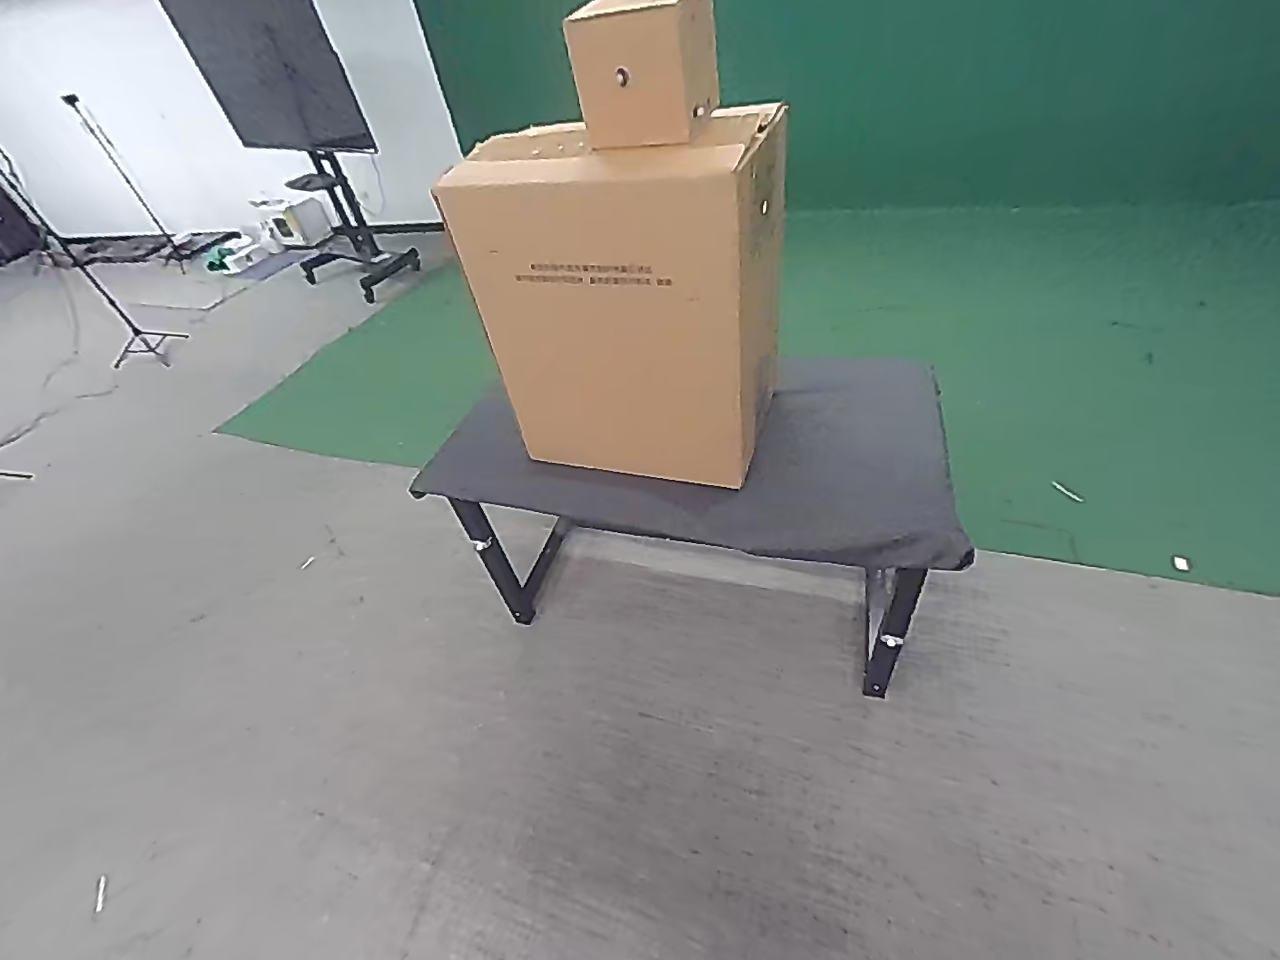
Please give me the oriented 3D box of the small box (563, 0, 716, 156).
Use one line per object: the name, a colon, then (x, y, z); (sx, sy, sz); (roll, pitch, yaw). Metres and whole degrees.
small box: (0.012, -0.629, 0.842); (0.179, 0.176, 0.168); (9, 53, 22)
